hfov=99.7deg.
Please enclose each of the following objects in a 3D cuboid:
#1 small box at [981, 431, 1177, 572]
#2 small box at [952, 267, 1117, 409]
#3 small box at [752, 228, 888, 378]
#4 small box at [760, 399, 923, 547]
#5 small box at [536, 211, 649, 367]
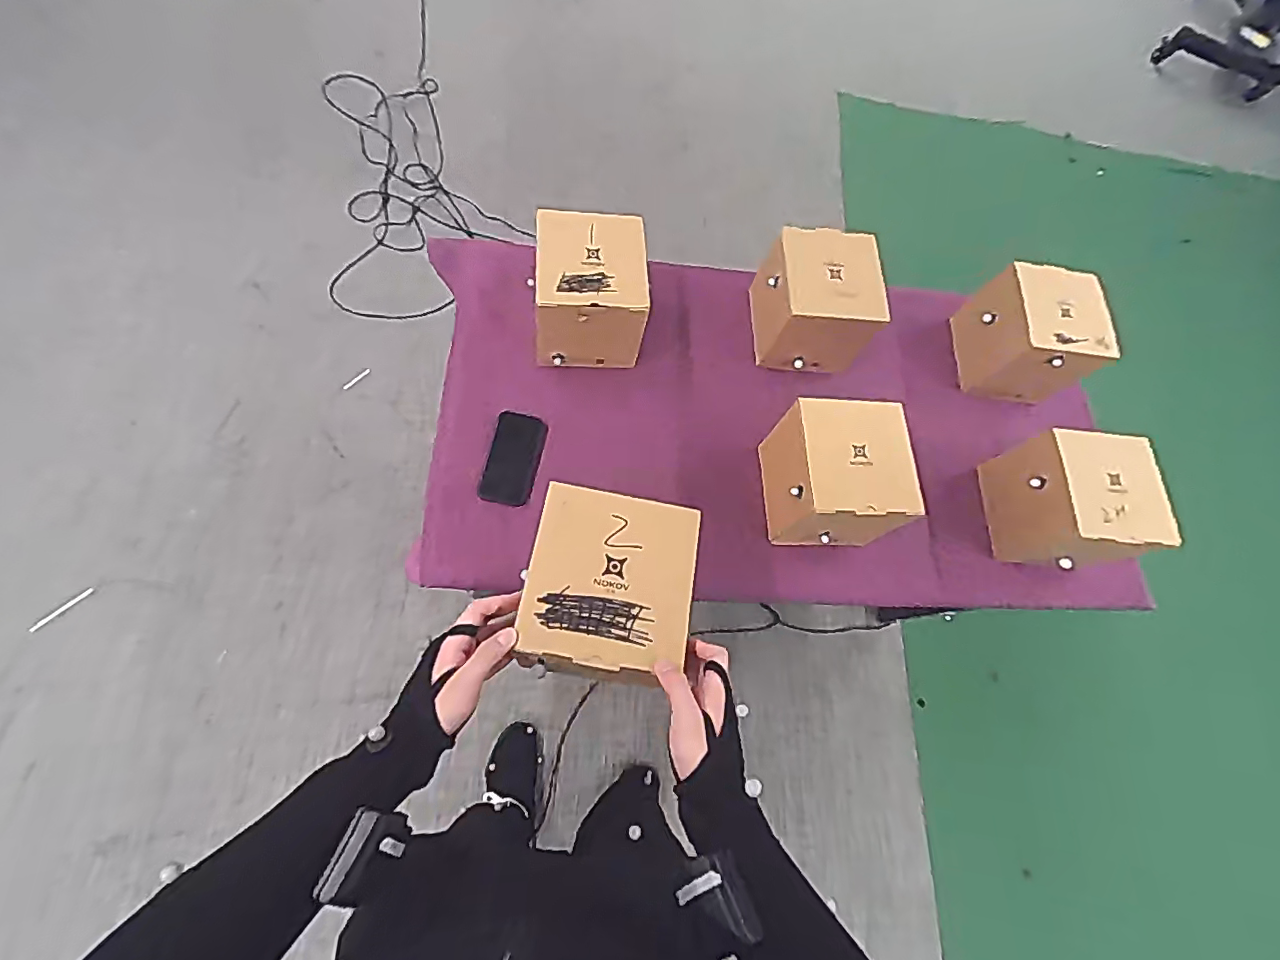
[{"bbox_3d":[0.691,0.042,0.878,0.168,0.176,0.179,6,69,-6],"label":"small box"},{"bbox_3d":[0.707,-0.254,0.993,0.168,0.176,0.179,6,69,-6],"label":"small box"},{"bbox_3d":[0.301,-0.302,0.945,0.168,0.176,0.179,3,70,-7],"label":"small box"},{"bbox_3d":[0.295,-0.004,0.834,0.168,0.176,0.179,2,69,-9],"label":"small box"},{"bbox_3d":[-0.082,-0.300,0.879,0.168,0.176,0.179,0,69,-10],"label":"small box"}]
